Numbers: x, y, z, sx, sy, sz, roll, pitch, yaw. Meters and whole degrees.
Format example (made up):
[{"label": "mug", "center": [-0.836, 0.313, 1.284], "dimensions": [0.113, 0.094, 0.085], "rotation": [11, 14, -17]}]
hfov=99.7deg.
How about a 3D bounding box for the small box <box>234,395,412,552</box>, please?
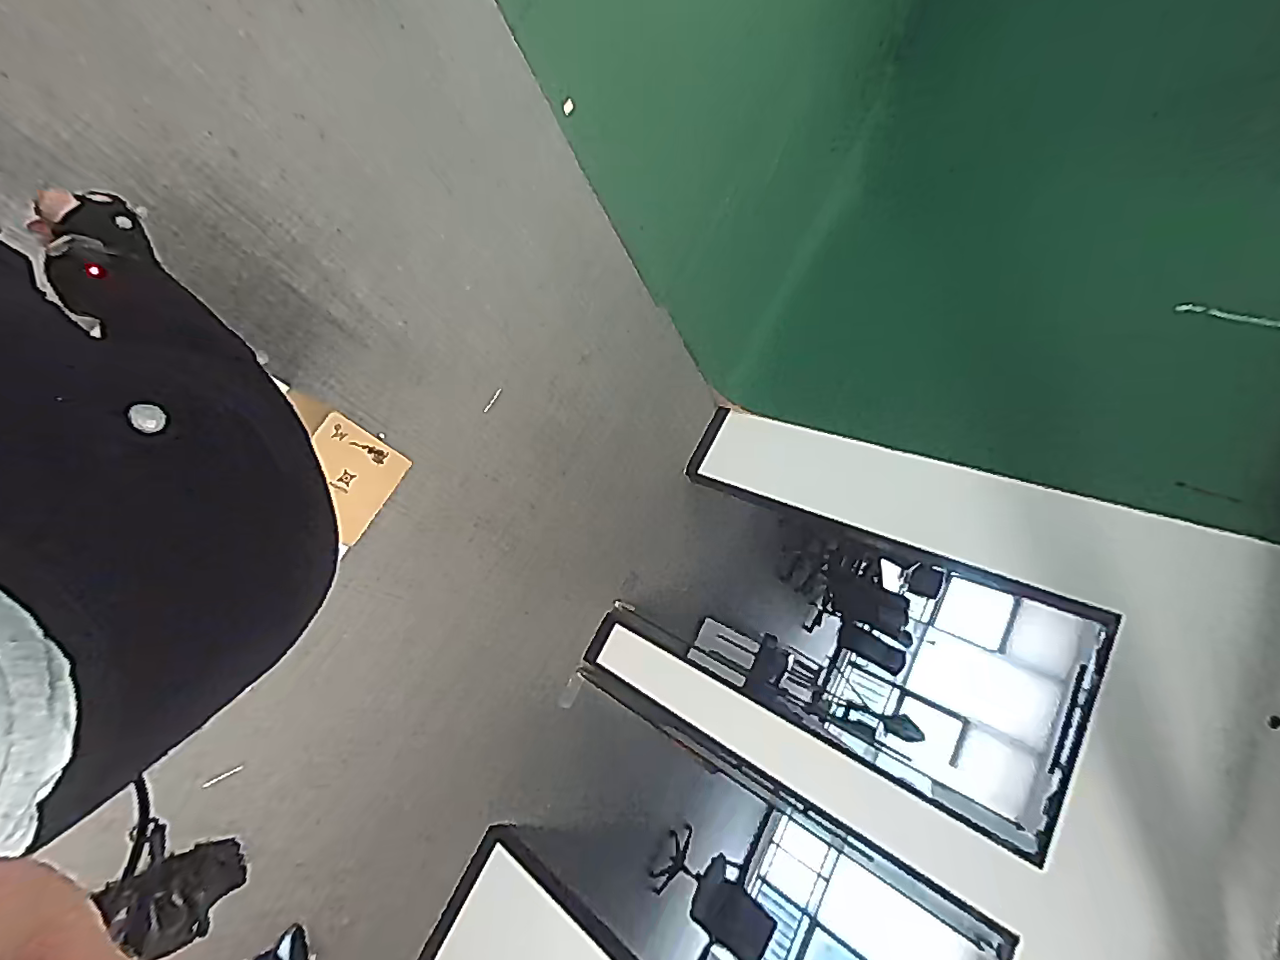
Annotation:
[{"label": "small box", "center": [-0.527, -0.013, 0.895], "dimensions": [0.179, 0.176, 0.168], "rotation": [-58, 145, -13]}]
